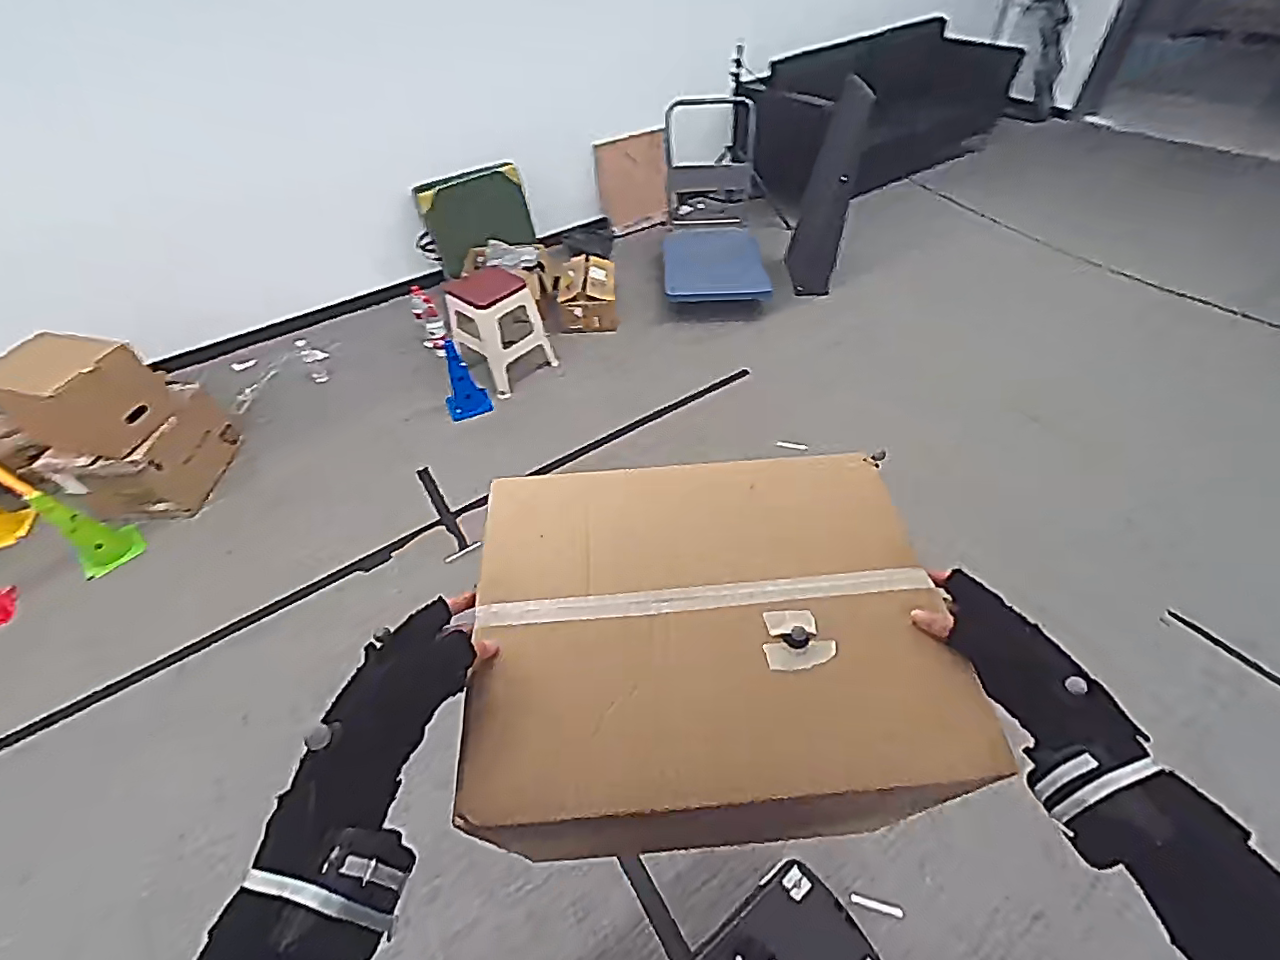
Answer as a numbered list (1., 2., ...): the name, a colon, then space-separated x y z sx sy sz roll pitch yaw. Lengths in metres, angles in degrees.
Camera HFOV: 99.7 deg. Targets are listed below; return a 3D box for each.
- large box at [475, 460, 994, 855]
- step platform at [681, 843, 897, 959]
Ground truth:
1. large box: 0.062 0.204 0.608 0.408 0.320 0.320 -4 52 -2
2. step platform: 0.208 1.109 1.119 0.684 0.204 0.286 -30 52 -23
